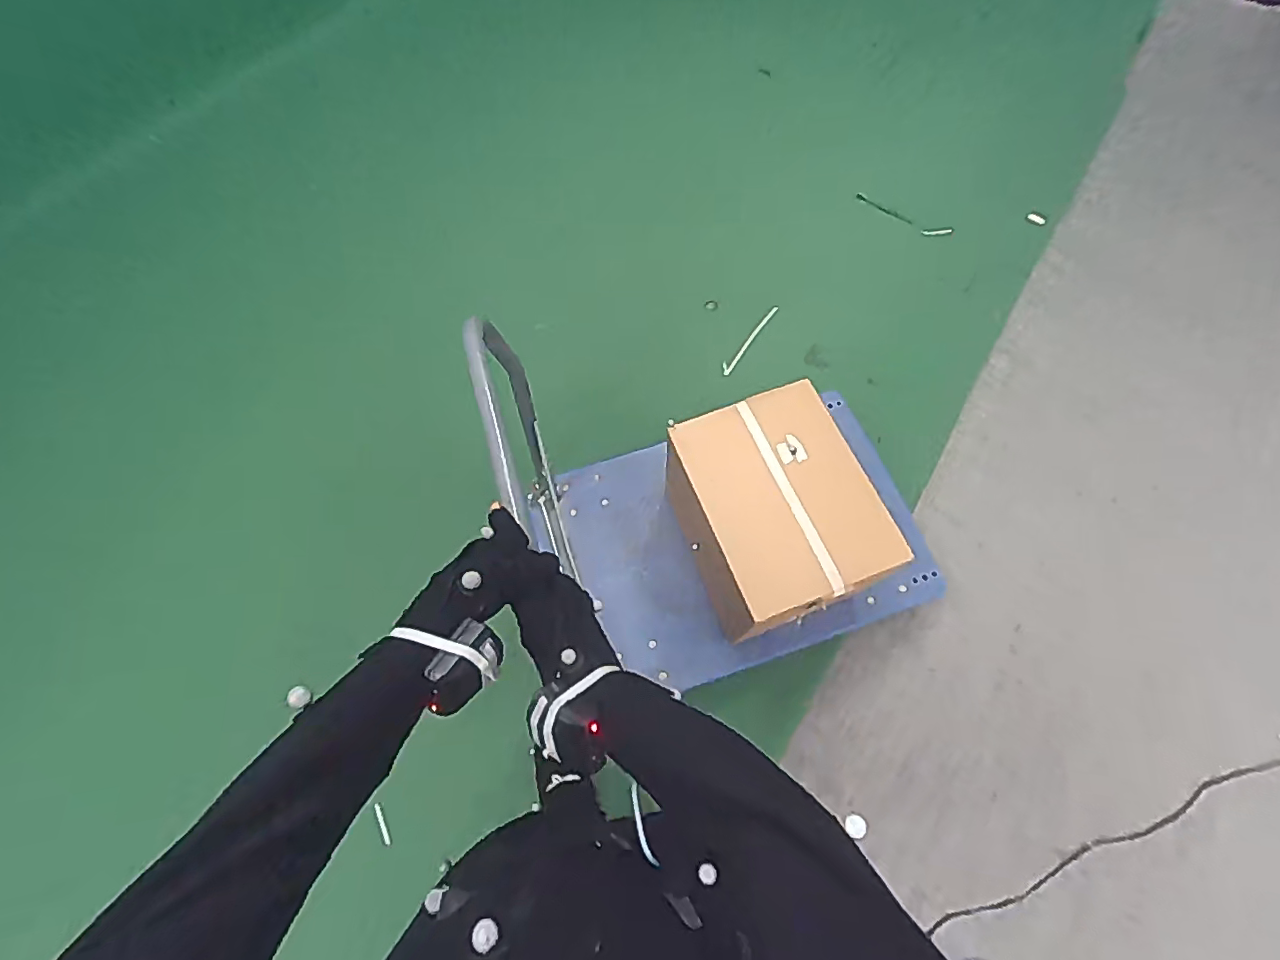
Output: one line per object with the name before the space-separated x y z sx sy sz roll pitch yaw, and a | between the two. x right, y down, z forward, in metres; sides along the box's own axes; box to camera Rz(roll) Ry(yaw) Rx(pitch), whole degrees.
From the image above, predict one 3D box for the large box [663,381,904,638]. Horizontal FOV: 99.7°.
large box | 0.263 0.075 1.150 0.320 0.320 0.408 -19 67 -8
